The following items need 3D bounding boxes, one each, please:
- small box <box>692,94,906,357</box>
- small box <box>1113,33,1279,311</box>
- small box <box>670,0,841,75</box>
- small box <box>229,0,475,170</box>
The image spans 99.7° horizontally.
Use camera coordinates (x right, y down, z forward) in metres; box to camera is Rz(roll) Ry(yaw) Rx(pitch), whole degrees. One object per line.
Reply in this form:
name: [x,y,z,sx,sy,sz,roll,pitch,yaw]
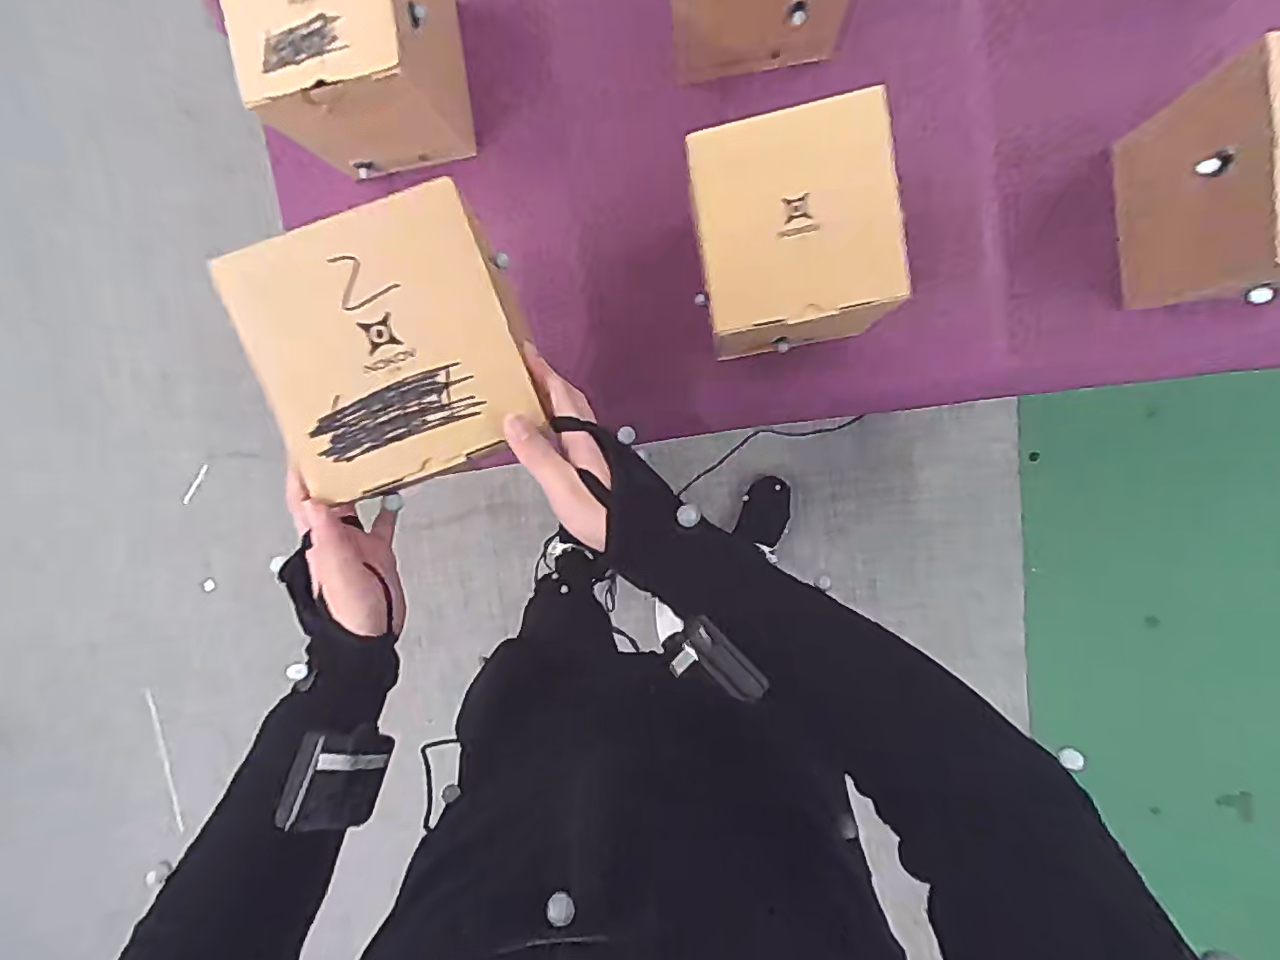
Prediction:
small box: [0.145,-0.234,0.547,0.168,0.176,0.179,-9,95,8]
small box: [0.570,-0.266,0.483,0.168,0.176,0.179,-7,95,10]
small box: [0.109,-0.529,0.519,0.168,0.176,0.179,-4,96,7]
small box: [-0.293,-0.458,0.576,0.168,0.176,0.179,-6,95,7]
